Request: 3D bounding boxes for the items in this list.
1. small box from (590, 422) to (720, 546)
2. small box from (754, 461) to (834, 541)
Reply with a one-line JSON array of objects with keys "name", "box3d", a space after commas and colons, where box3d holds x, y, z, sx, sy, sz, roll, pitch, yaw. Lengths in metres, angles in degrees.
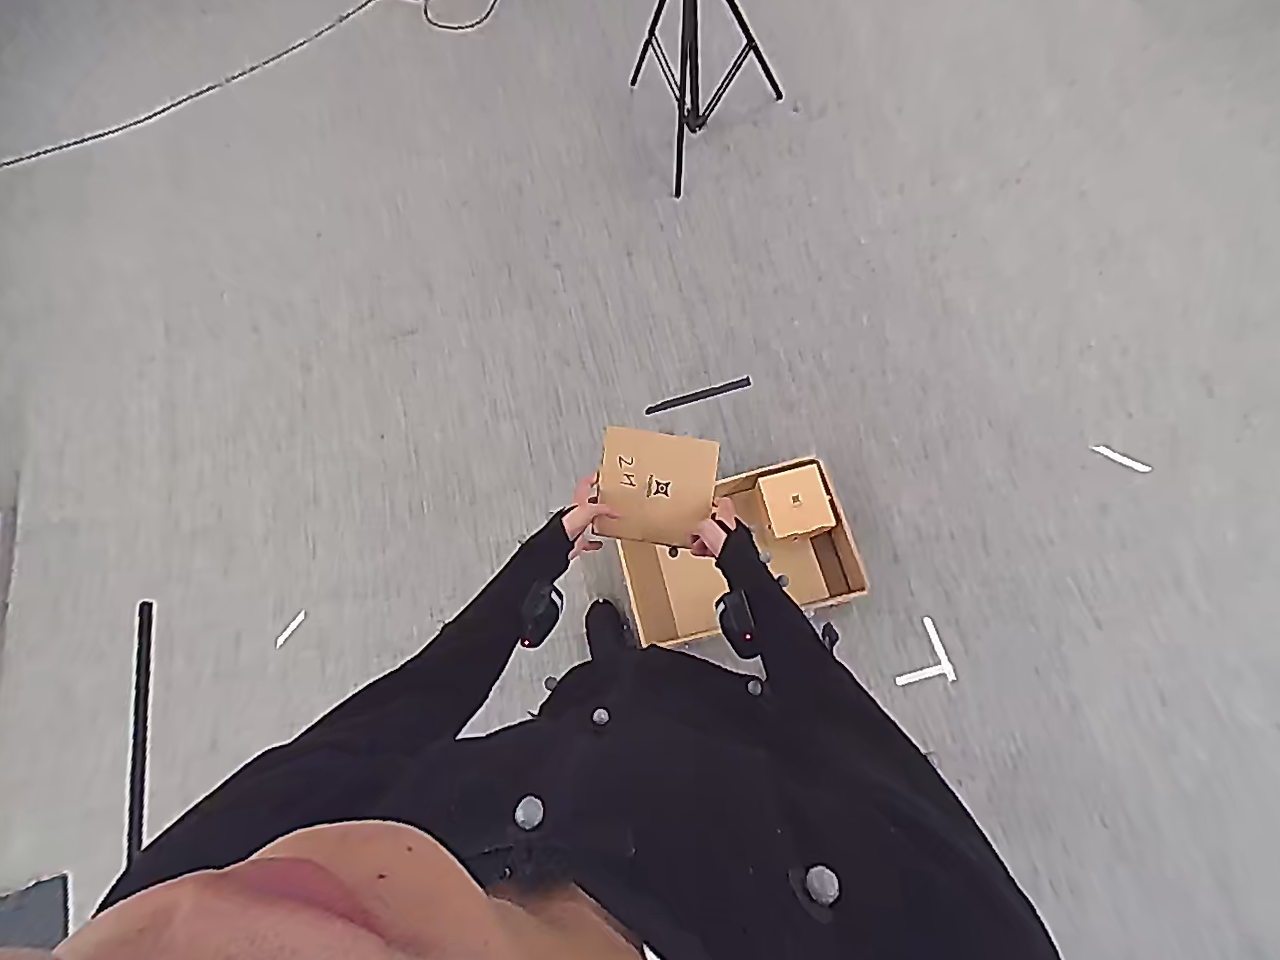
[{"name": "small box", "box3d": [0.021, 0.014, 0.886, 0.179, 0.176, 0.168, 9, 83, 0]}, {"name": "small box", "box3d": [0.428, 0.065, 1.535, 0.168, 0.176, 0.179, -15, 76, 4]}]
